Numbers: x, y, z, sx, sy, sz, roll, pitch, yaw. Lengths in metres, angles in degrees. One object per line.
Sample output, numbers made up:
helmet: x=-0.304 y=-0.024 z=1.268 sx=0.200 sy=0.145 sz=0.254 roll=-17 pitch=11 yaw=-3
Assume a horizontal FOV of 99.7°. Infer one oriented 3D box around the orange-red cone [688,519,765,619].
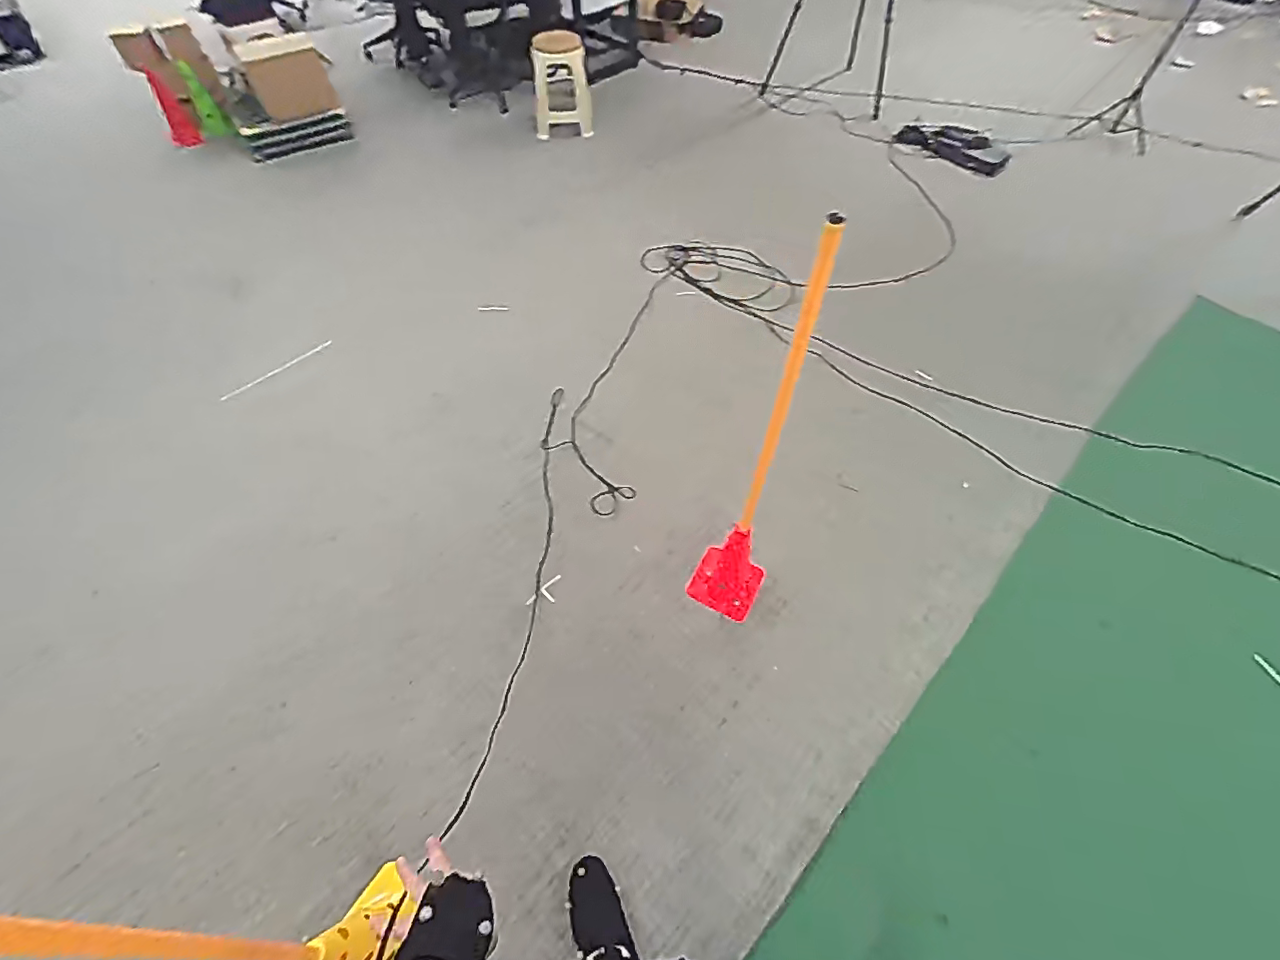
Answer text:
orange-red cone: x=0.275 y=0.217 z=1.545 sx=0.198 sy=0.360 sz=0.199 roll=26 pitch=58 yaw=16
